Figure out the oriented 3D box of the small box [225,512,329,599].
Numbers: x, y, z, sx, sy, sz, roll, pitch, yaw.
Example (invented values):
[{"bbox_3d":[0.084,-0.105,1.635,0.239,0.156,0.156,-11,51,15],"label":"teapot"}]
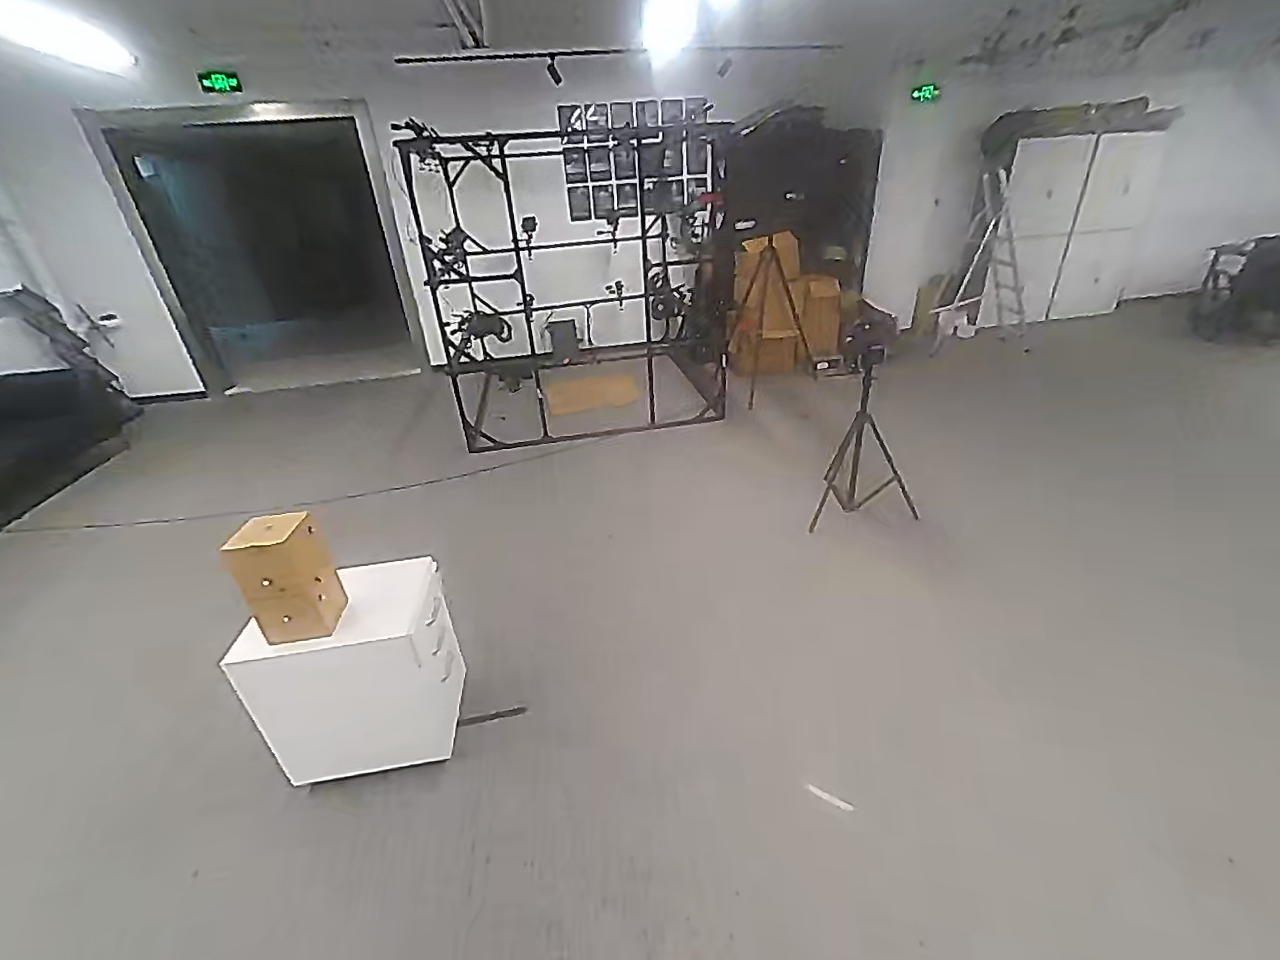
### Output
[{"bbox_3d":[-1.012,0.212,1.529,0.168,0.176,0.179,-8,28,-3],"label":"small box"}]
